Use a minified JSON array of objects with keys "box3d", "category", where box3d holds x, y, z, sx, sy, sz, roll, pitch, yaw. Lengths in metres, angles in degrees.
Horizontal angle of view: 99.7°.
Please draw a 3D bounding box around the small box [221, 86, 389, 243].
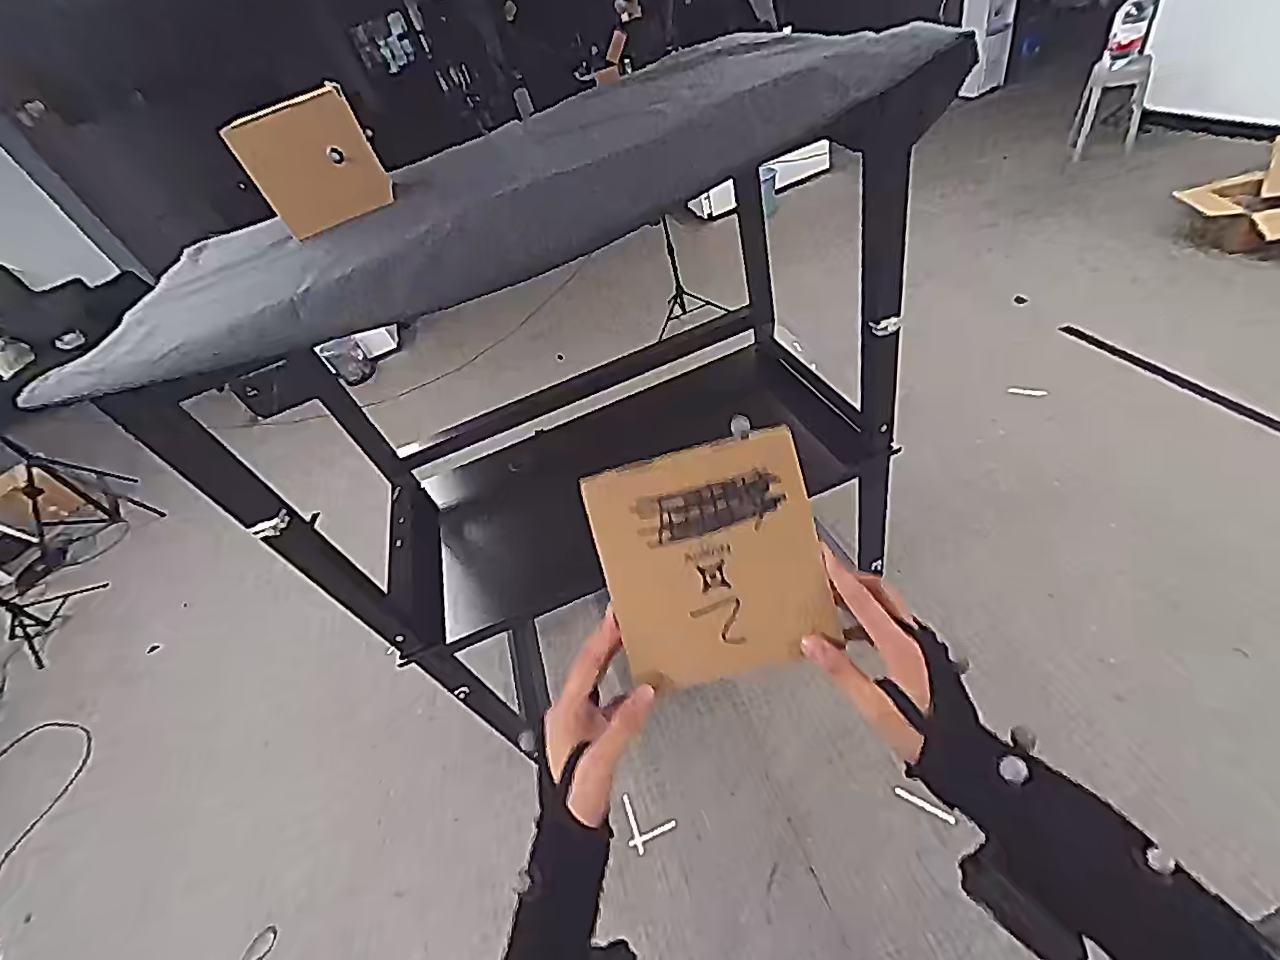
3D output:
[{"box3d":[-0.544,-0.530,0.909,0.179,0.176,0.168,-25,43,-5],"category":"small box"}]
